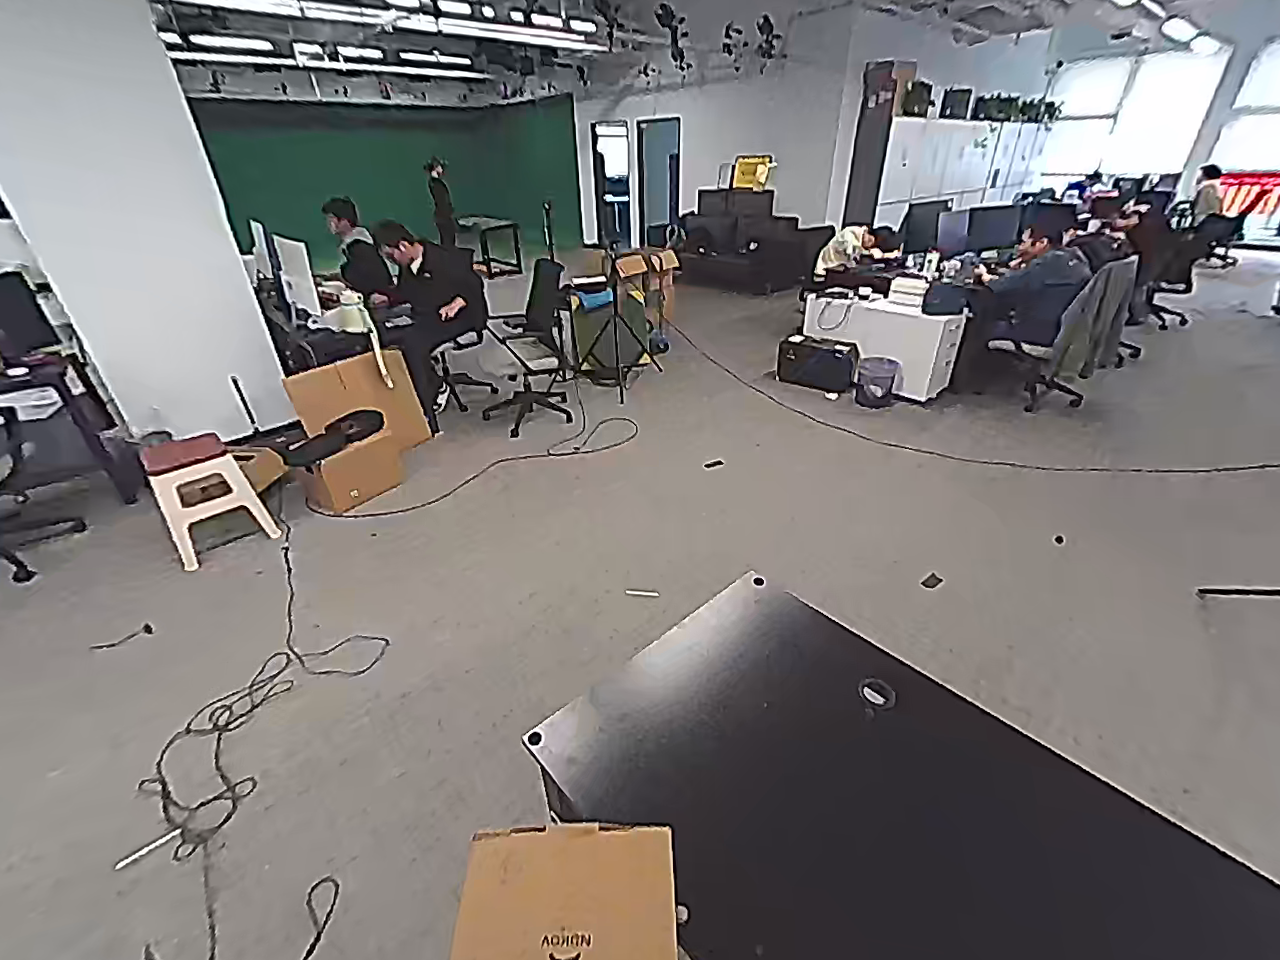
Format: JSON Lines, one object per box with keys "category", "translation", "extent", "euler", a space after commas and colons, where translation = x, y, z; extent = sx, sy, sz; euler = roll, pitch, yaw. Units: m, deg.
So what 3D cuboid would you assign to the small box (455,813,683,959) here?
{"category": "small box", "translation": [-0.053, 0.399, 0.441], "extent": [0.168, 0.176, 0.179], "euler": [0, 40, -1]}
